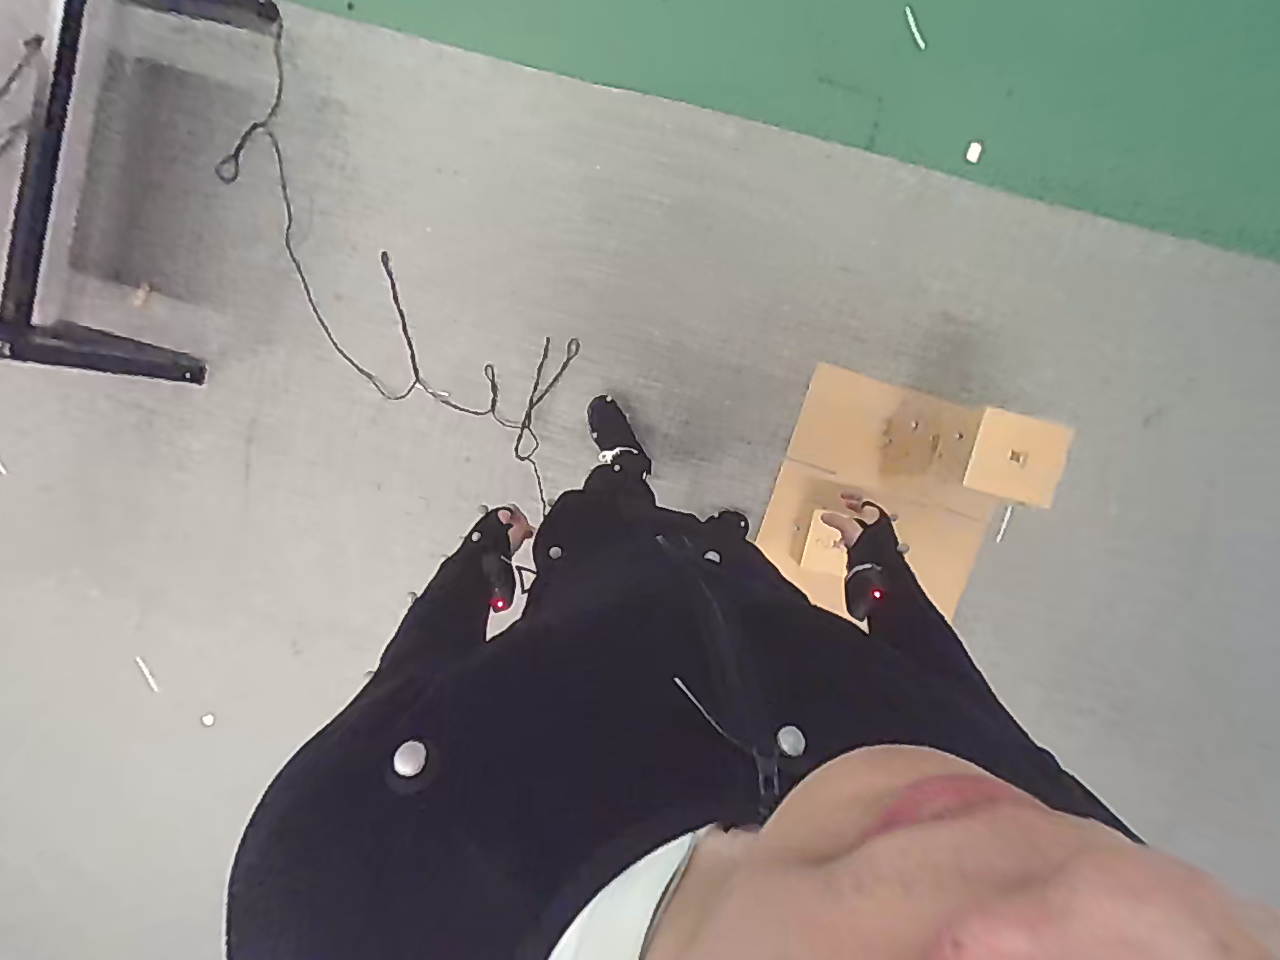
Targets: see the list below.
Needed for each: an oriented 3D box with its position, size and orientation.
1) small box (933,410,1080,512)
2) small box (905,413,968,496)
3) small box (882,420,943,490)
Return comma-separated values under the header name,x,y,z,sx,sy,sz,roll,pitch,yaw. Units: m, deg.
name,x,y,z,sx,sy,sz,roll,pitch,yaw
small box,0.750,-0.040,1.130,0.179,0.176,0.168,15,94,4
small box,0.766,-0.056,1.291,0.179,0.176,0.168,15,95,4
small box,0.781,-0.065,1.453,0.179,0.176,0.168,11,95,5
